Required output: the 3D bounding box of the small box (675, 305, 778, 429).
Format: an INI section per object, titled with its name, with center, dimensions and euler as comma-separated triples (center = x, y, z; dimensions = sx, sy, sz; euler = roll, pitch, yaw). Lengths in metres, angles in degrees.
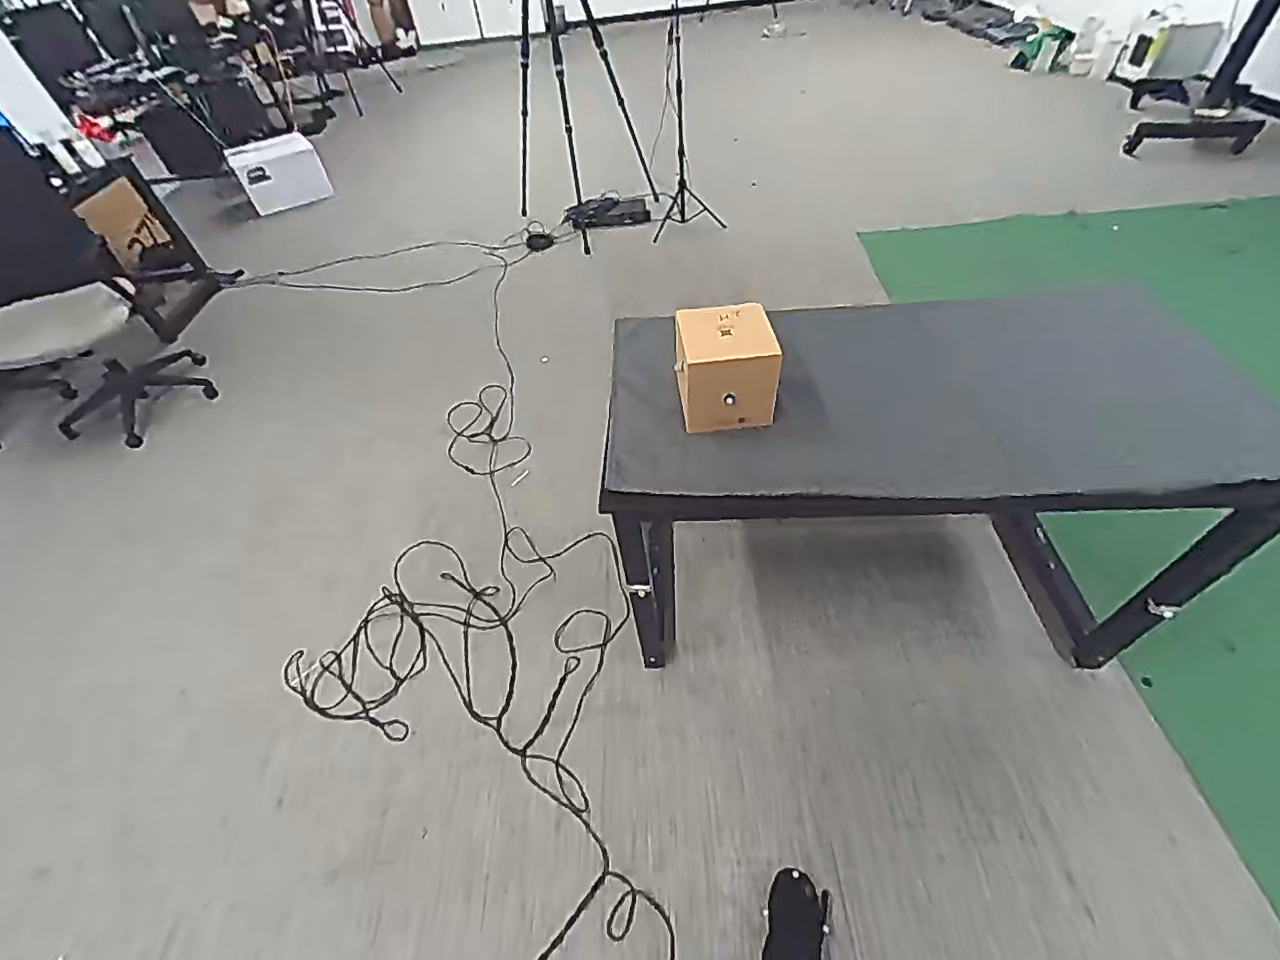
[small box]
center = 0.161, -0.210, 1.042
dimensions = 0.168, 0.176, 0.179
euler = -6, 47, 0
